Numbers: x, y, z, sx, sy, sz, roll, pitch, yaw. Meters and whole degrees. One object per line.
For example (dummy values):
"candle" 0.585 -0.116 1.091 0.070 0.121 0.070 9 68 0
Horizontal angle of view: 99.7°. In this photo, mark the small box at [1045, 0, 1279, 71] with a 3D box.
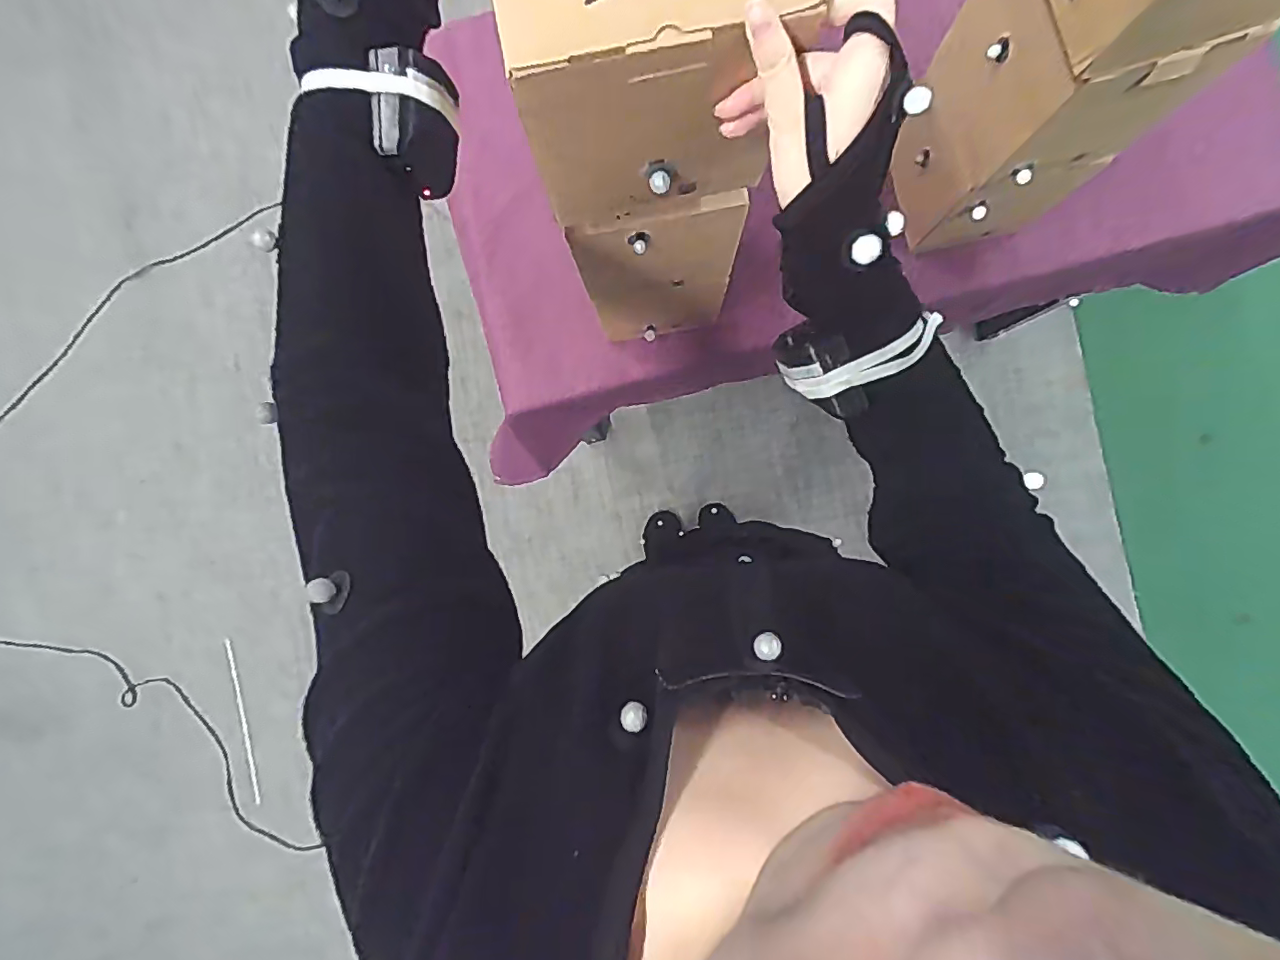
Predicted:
"small box" 0.420 -0.443 0.376 0.179 0.176 0.168 -17 87 3

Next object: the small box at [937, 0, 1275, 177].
"small box" 0.434 -0.437 0.539 0.168 0.176 0.179 -15 86 2

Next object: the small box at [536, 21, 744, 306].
"small box" 0.004 -0.306 0.558 0.168 0.176 0.179 -10 87 4

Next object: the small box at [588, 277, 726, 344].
"small box" 0.013 -0.301 0.723 0.168 0.176 0.179 -10 88 3
